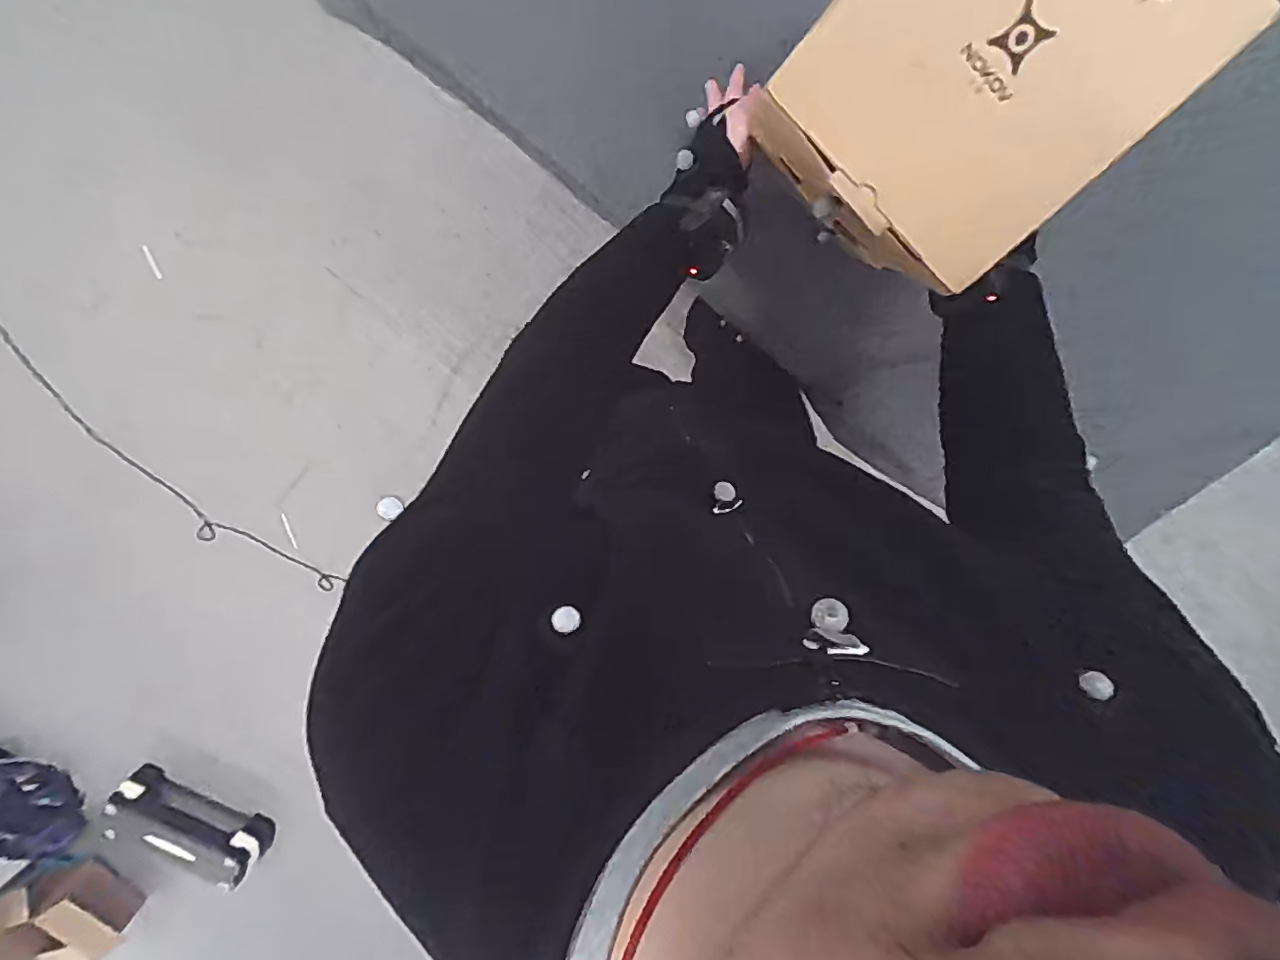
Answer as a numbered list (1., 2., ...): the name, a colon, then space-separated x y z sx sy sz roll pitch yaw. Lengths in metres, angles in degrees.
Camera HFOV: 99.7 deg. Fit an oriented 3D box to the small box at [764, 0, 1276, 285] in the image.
1. small box: 0.197 -0.257 0.344 0.168 0.176 0.179 40 117 -12
